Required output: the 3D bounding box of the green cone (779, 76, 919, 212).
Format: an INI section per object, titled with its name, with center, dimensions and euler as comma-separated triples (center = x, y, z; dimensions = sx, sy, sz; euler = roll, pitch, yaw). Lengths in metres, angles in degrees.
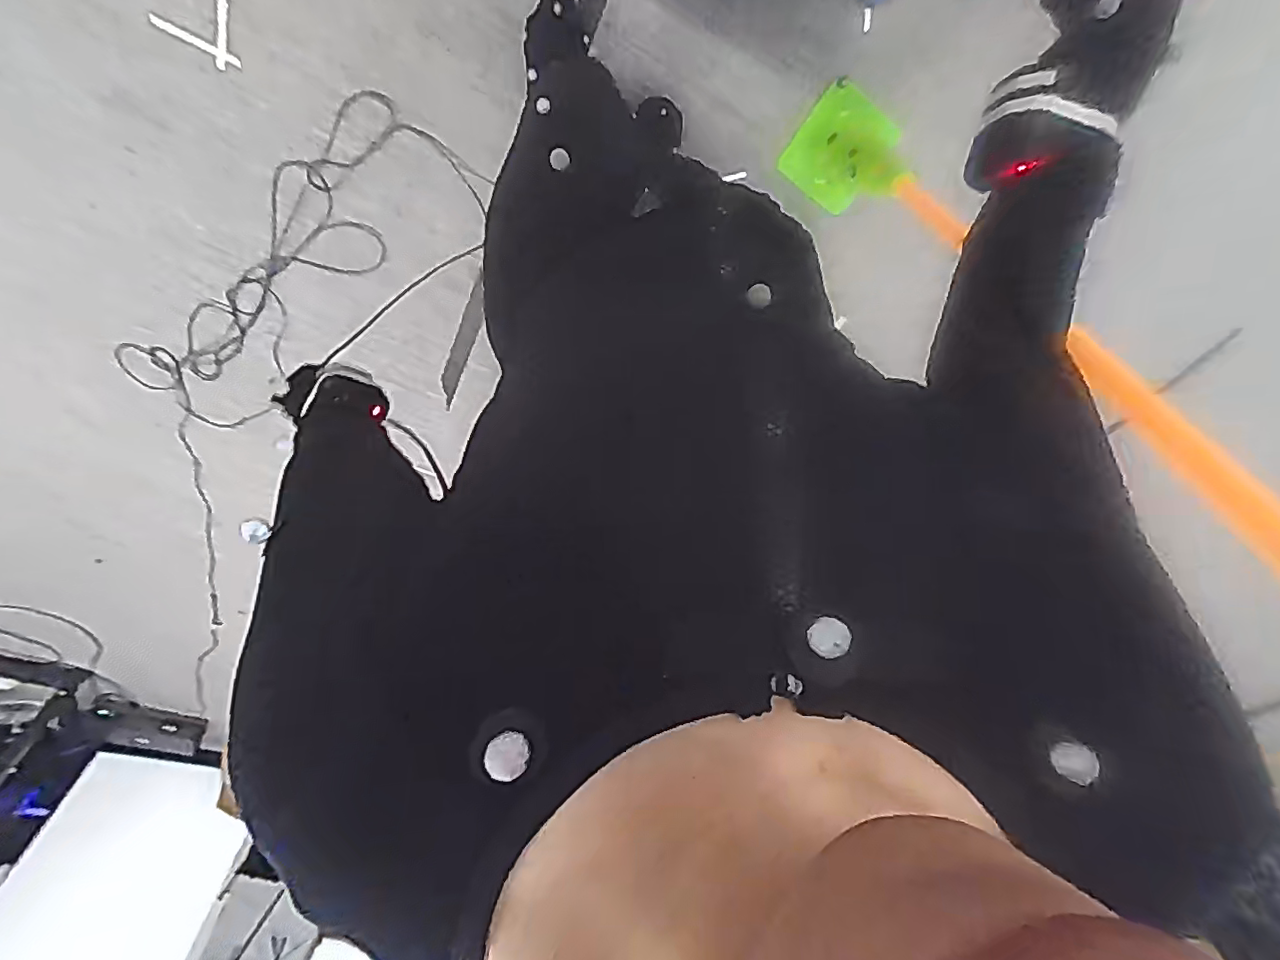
[green cone]
center = 0.437, -0.608, 1.043
dimensions = 0.202, 0.368, 0.200
euler = 24, 126, -21
